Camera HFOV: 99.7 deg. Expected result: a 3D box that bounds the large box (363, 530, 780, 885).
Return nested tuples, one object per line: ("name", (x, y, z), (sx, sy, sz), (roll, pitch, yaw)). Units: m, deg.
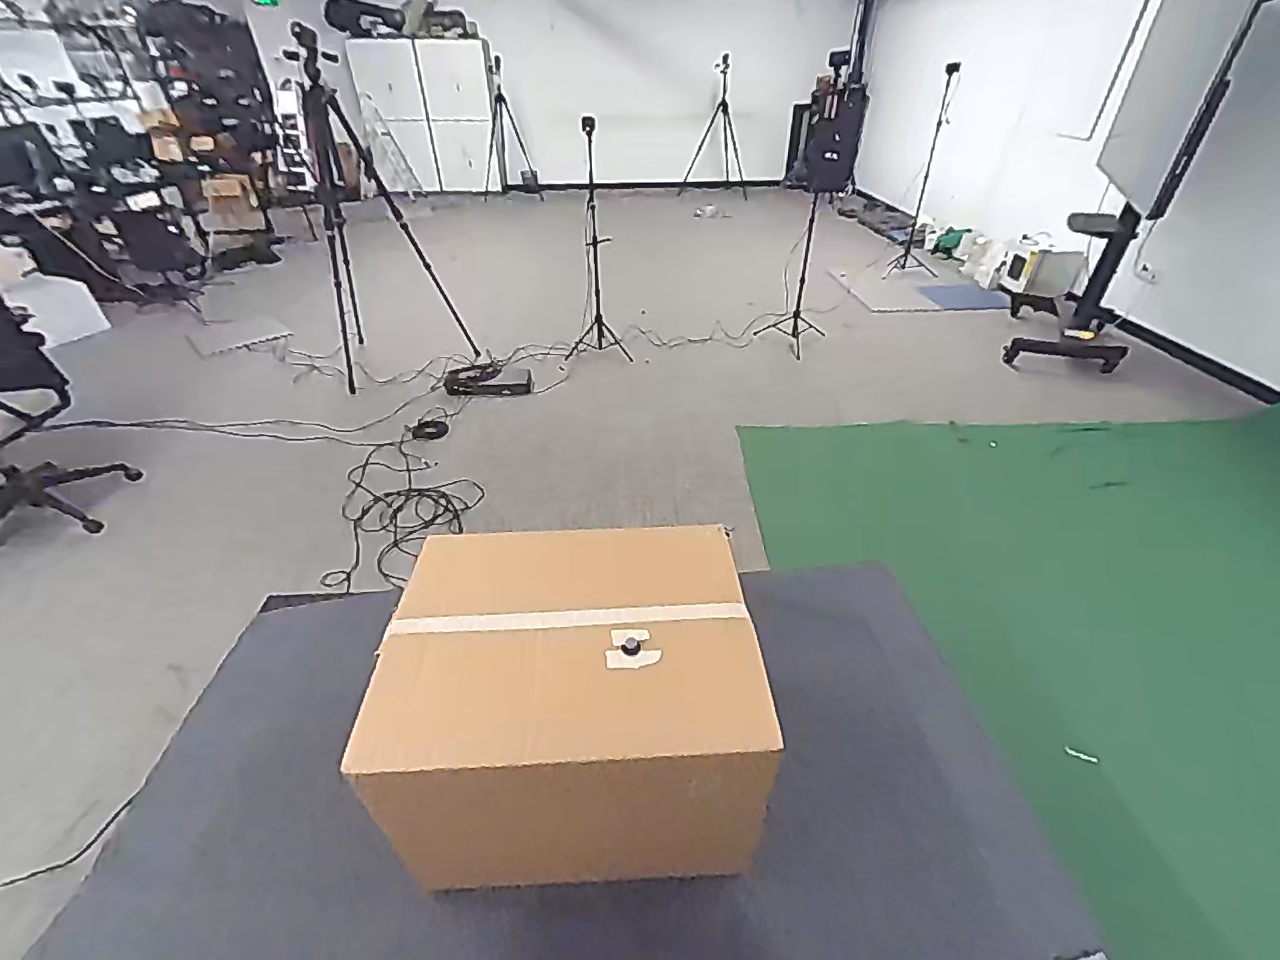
("large box", (-0.072, 0.288, 0.714), (0.408, 0.320, 0.320), (-2, 37, -3))
